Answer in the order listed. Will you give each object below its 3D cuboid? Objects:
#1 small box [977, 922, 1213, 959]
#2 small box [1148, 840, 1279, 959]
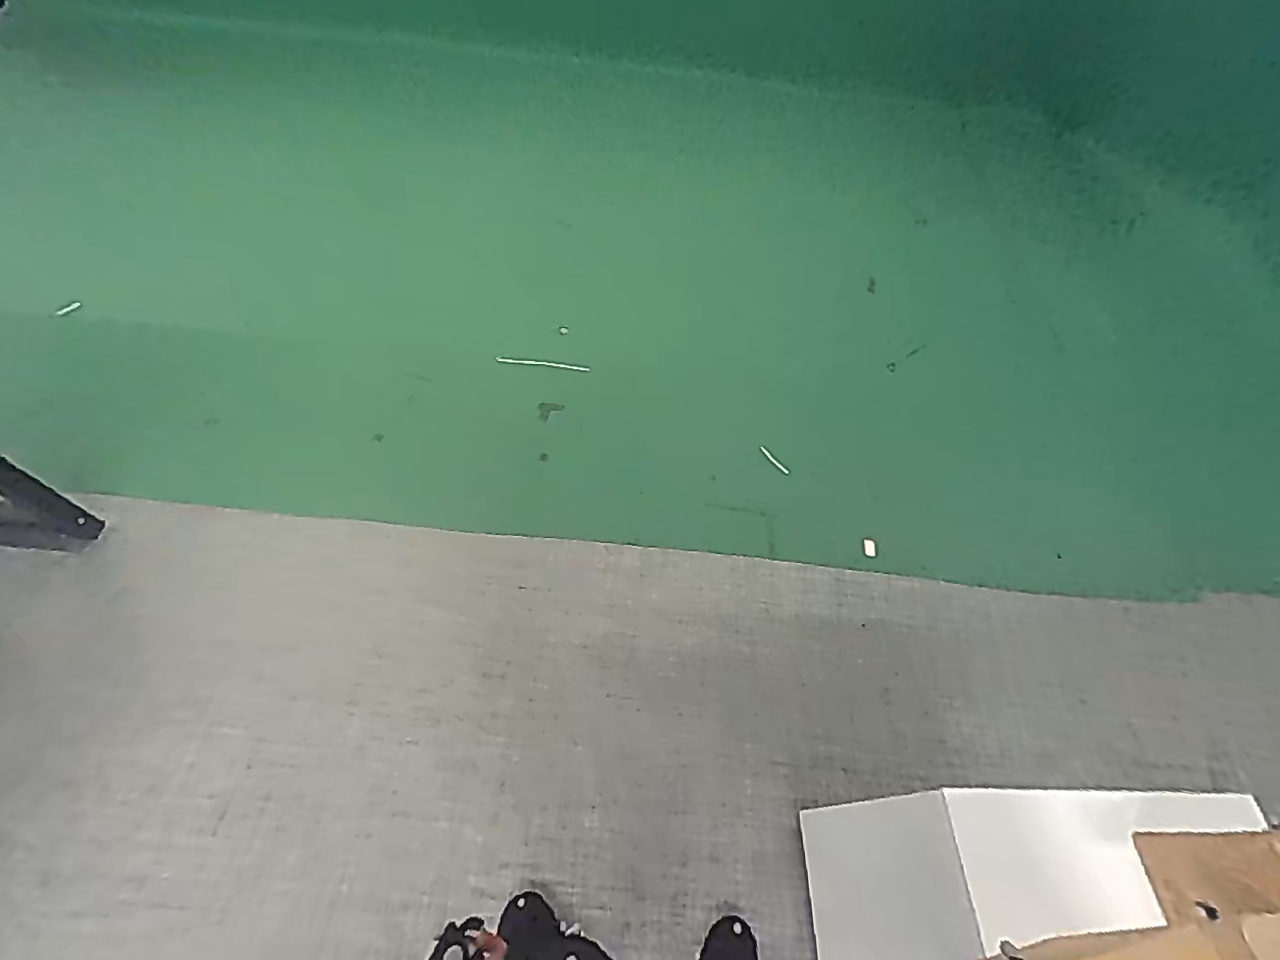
[{"bbox_3d":[0.386,0.493,0.442,0.179,0.176,0.168,-3,48,-15],"label":"small box"},{"bbox_3d":[0.670,0.448,0.520,0.179,0.176,0.168,1,57,-2],"label":"small box"}]
